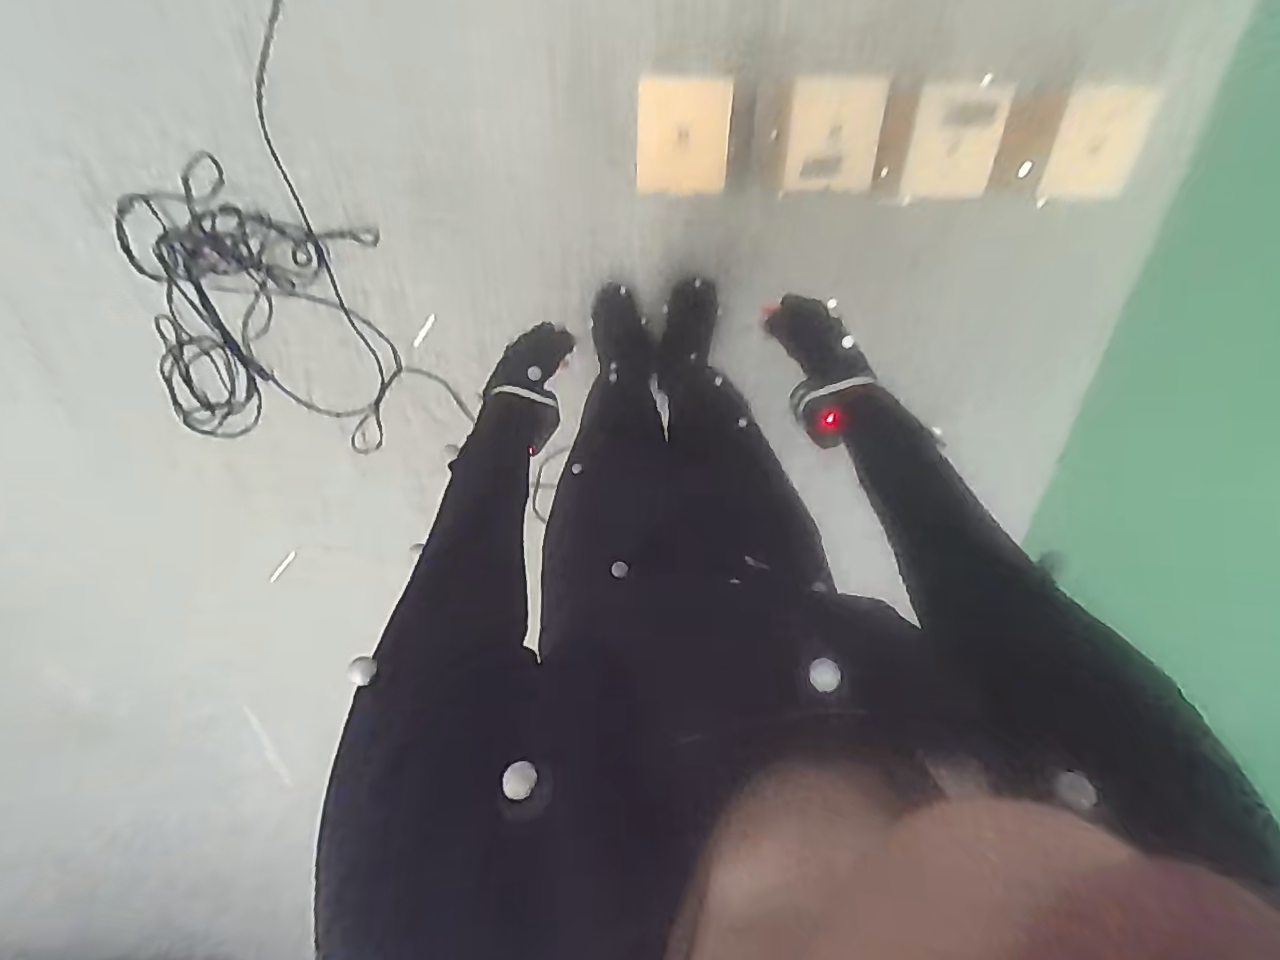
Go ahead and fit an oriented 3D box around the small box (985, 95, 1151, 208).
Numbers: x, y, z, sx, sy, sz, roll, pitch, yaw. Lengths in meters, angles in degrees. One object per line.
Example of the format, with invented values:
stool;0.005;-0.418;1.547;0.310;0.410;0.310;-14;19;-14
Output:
small box;0.823;-0.639;1.065;0.168;0.176;0.179;1;118;-2

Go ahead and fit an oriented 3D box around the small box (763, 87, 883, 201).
small box;0.342;-0.643;1.051;0.168;0.176;0.179;0;117;-1

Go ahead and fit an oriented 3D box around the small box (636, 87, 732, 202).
small box;0.076;-0.641;1.051;0.168;0.176;0.179;1;118;-1
